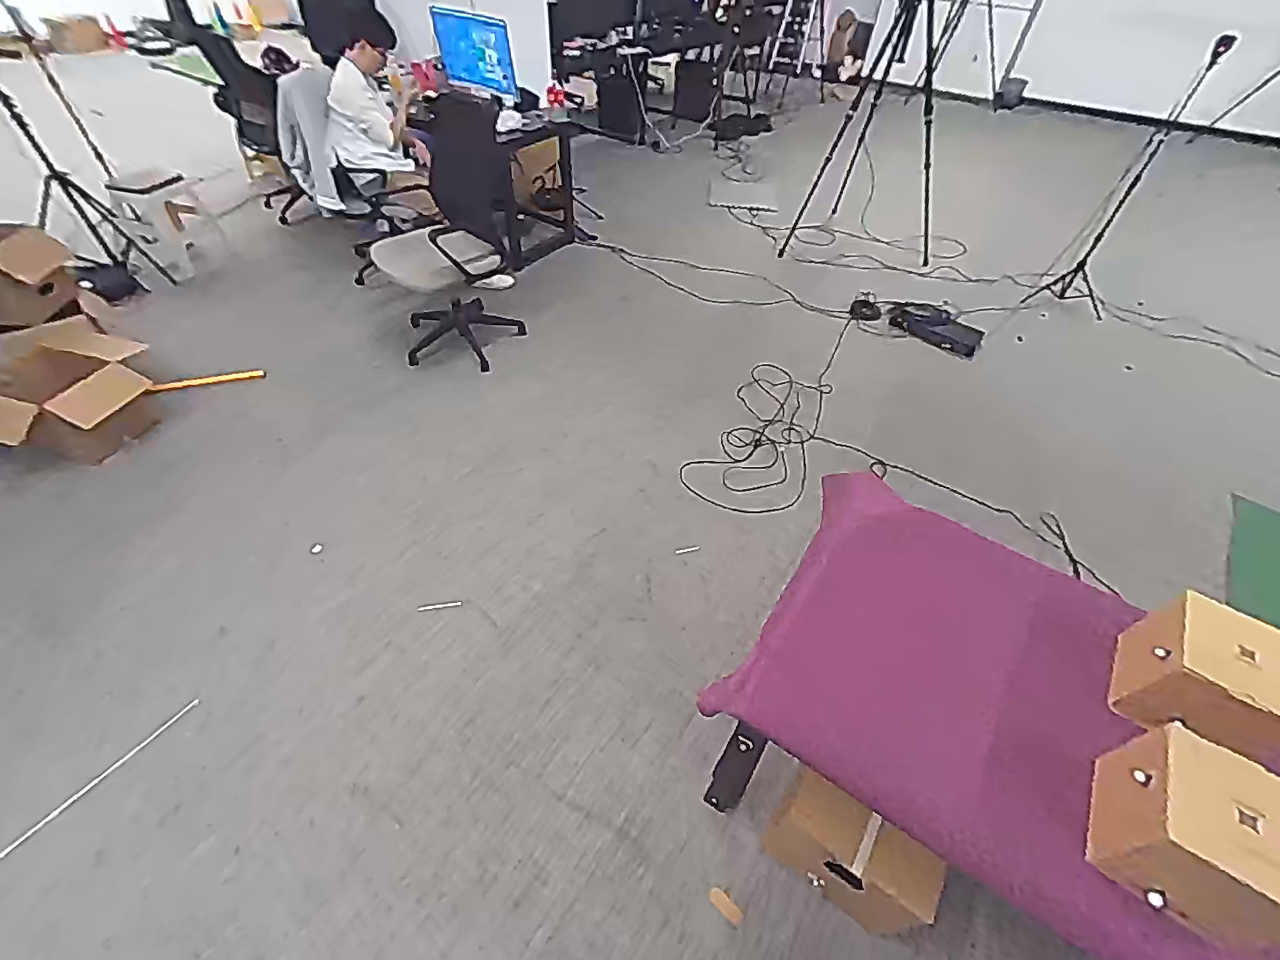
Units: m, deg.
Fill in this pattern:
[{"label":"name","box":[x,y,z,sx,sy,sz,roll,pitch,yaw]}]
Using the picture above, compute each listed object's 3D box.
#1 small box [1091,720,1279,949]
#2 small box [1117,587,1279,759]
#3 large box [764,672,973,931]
[{"label":"small box","box":[0.743,0.465,0.714,0.168,0.176,0.179,29,52,24]},{"label":"small box","box":[0.915,0.313,0.864,0.168,0.176,0.179,31,54,23]},{"label":"large box","box":[0.547,0.774,1.322,0.320,0.320,0.408,29,51,22]}]
